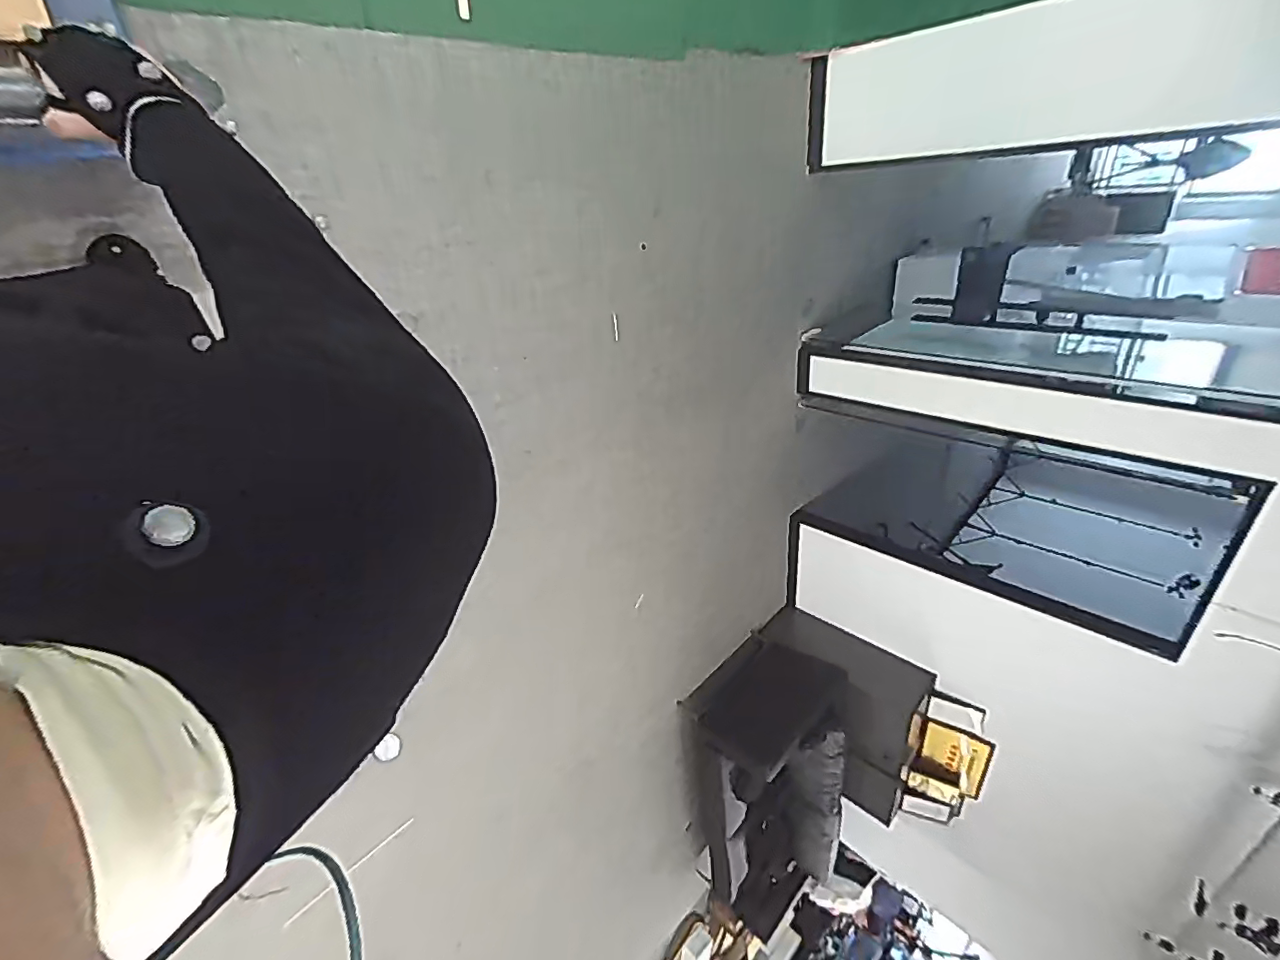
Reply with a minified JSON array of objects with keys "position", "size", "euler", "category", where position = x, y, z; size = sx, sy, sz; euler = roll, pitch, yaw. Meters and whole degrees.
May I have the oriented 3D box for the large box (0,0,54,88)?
[{"position":[-1.002,-0.733,0.630],"size":[0.320,0.320,0.408],"euler":[-27,125,-38],"category":"large box"}]
